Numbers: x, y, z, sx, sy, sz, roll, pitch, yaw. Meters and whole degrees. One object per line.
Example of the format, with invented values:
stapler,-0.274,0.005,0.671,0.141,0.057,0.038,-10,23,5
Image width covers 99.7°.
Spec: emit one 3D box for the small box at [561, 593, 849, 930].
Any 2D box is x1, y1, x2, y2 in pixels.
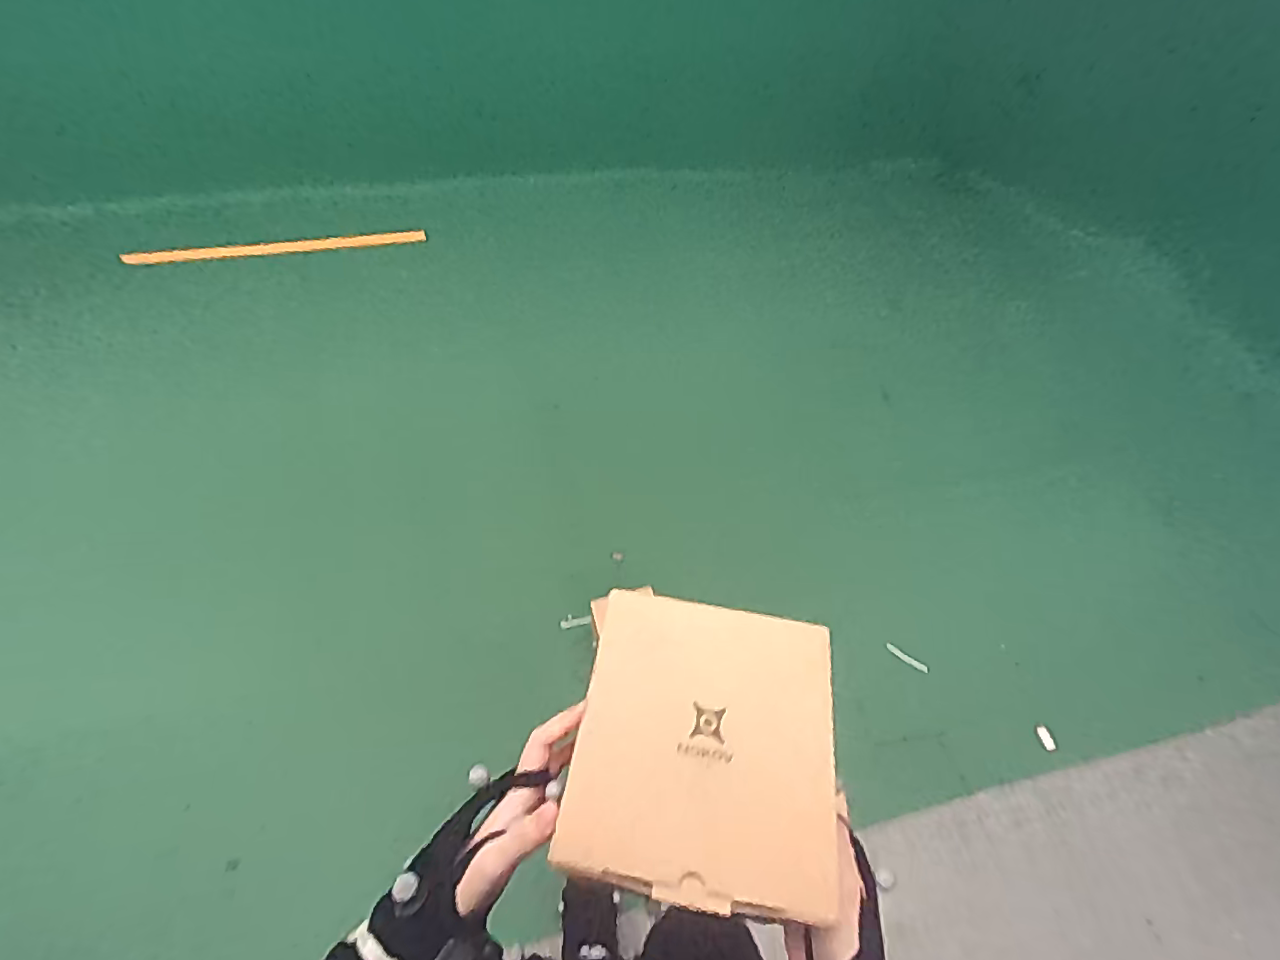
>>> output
small box,0.043,0.214,0.412,0.168,0.176,0.179,9,51,4
